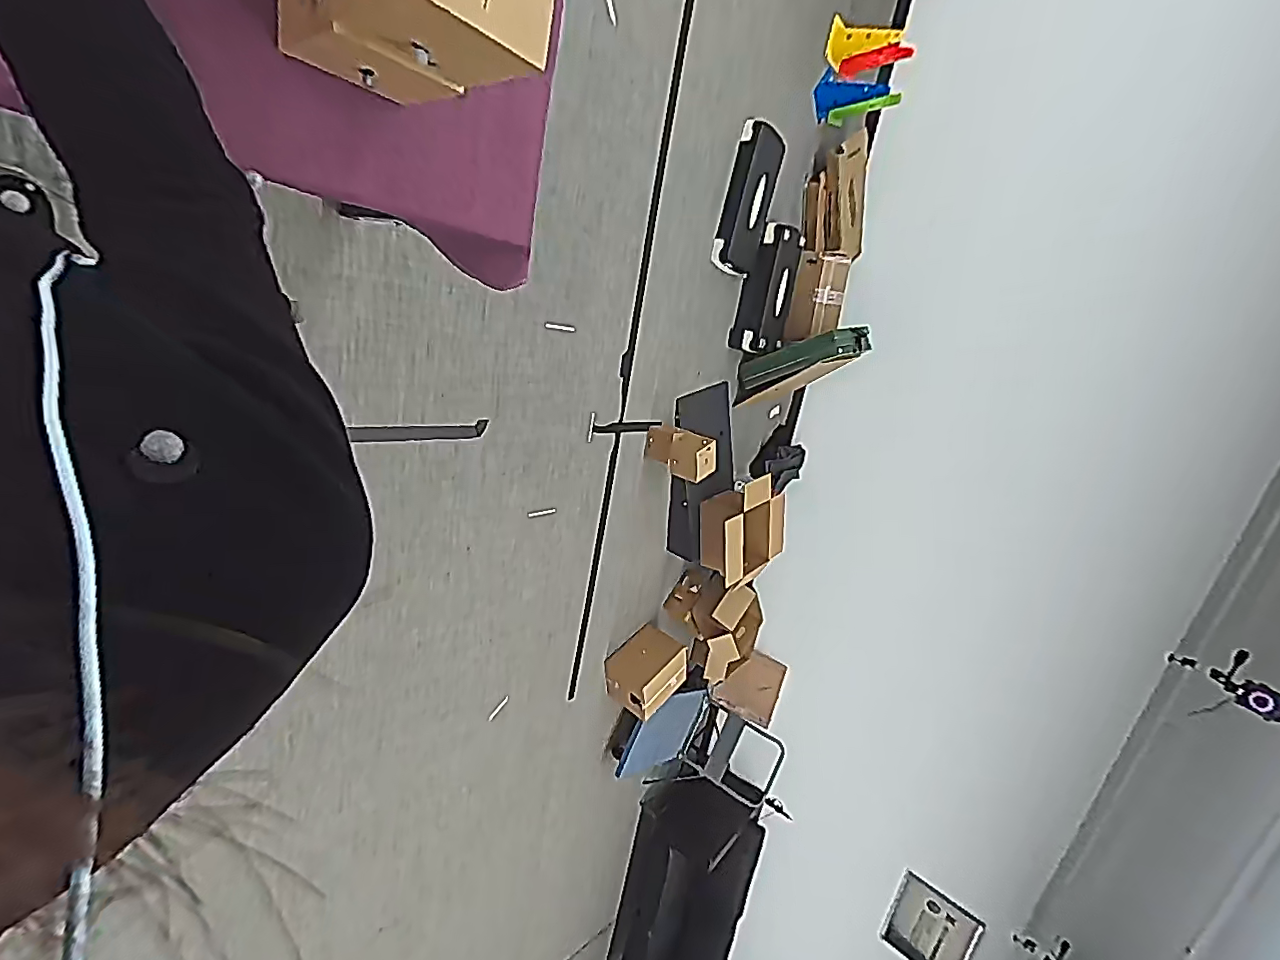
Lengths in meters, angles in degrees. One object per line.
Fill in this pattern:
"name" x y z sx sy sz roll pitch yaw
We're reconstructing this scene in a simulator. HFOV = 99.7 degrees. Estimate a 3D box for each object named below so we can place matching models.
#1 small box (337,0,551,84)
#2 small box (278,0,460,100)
"small box" -0.211 -0.570 0.588 0.168 0.176 0.179 -8 116 -50
"small box" -0.337 -0.613 0.684 0.168 0.176 0.179 -10 116 -51
